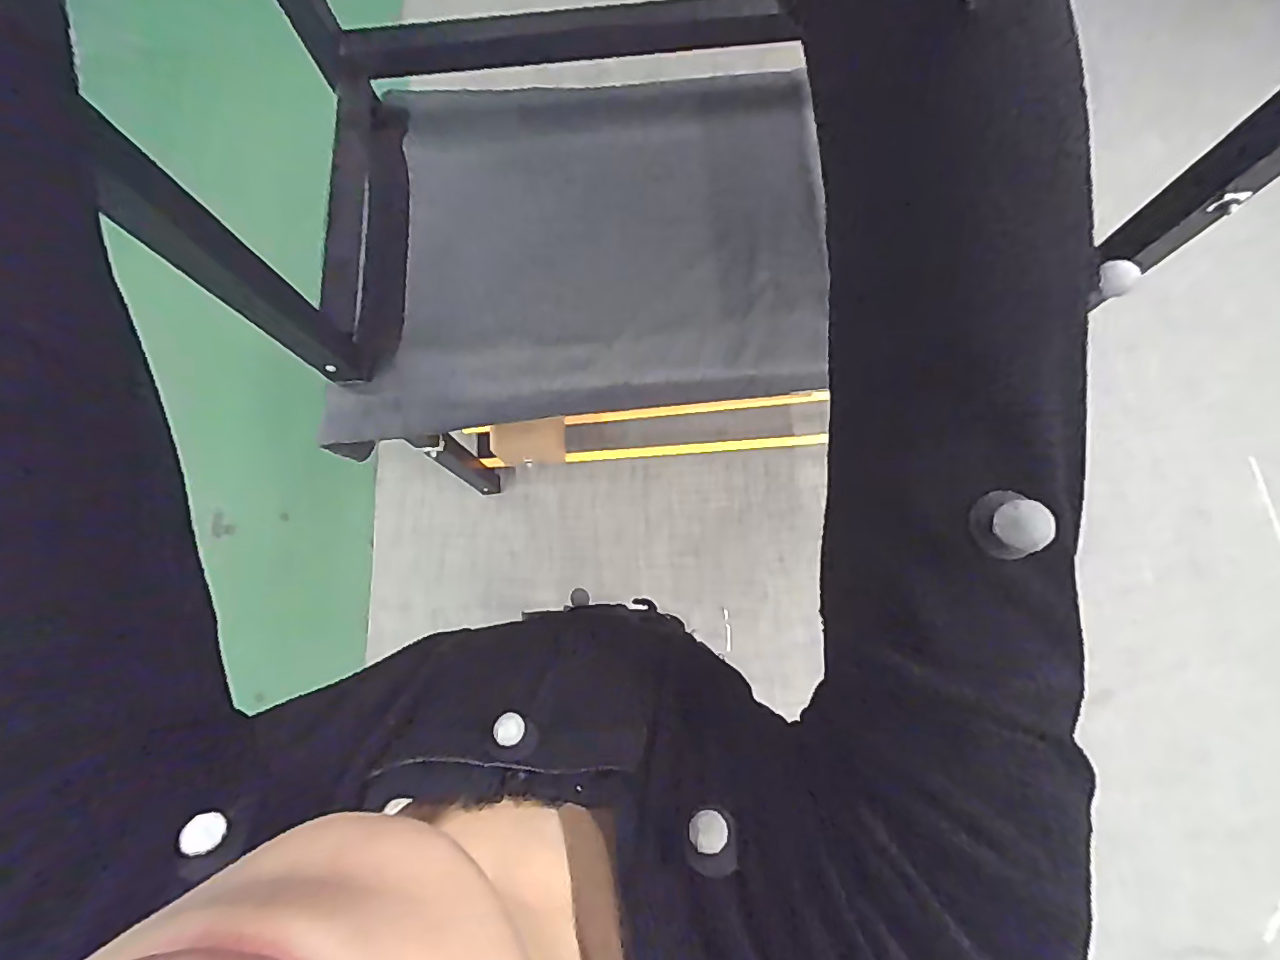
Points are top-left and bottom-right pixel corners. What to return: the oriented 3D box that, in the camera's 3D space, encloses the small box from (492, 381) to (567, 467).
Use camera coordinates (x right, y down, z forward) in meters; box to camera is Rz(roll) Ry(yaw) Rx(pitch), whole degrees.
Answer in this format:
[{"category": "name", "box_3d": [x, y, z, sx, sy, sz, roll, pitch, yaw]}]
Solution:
[{"category": "small box", "box_3d": [-0.289, -0.144, 1.438, 0.168, 0.176, 0.179, -5, 77, 1]}]
